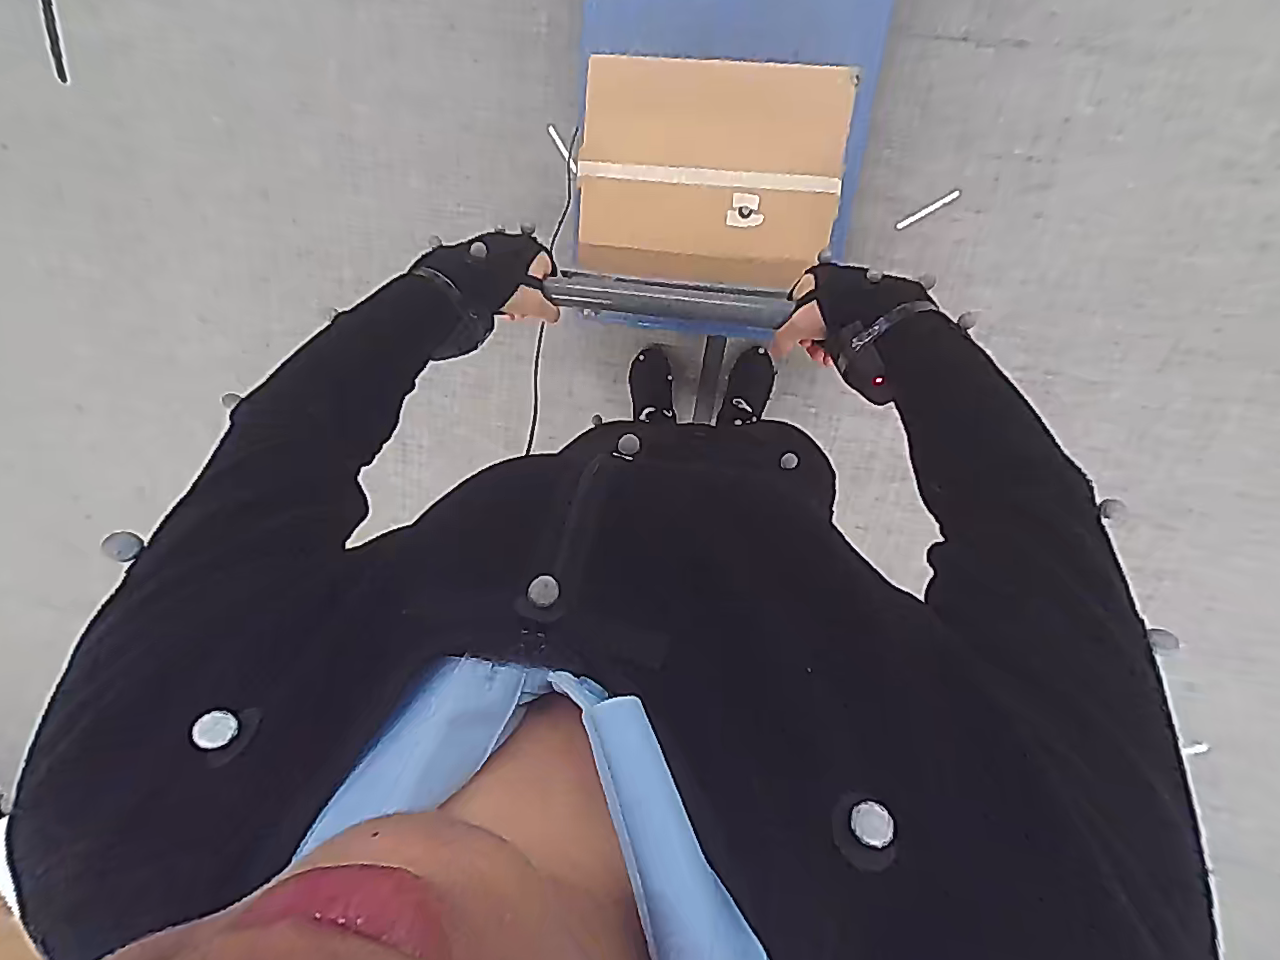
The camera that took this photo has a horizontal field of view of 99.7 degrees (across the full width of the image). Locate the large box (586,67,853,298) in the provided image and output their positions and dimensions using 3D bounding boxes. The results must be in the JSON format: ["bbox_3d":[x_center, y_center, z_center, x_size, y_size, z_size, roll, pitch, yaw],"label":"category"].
[{"bbox_3d":[0.129,-0.519,1.008,0.408,0.320,0.320,7,108,6],"label":"large box"}]
